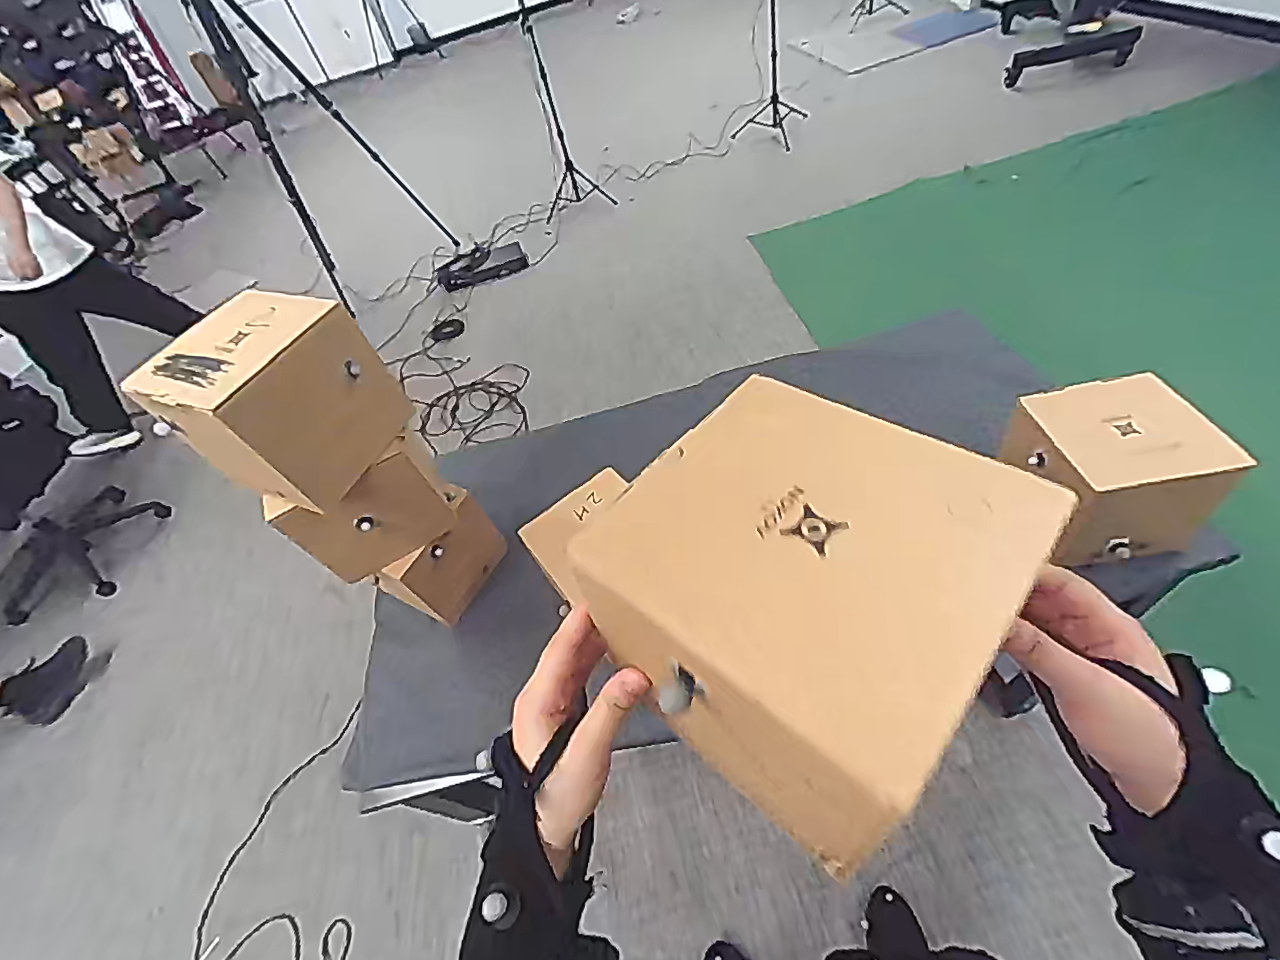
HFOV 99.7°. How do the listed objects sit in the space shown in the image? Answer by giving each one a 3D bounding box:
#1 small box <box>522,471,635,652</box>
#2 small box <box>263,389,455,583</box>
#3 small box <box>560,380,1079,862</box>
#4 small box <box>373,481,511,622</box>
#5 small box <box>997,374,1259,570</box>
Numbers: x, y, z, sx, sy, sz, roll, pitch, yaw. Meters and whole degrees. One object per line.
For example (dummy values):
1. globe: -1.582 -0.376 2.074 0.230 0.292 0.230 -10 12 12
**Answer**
1. small box: -0.038 0.127 0.788 0.168 0.176 0.179 -36 51 -15
2. small box: -0.383 0.011 0.761 0.179 0.176 0.168 -31 52 -10
3. small box: 0.089 0.080 0.310 0.179 0.176 0.168 31 63 32
4. small box: -0.349 0.108 0.890 0.179 0.176 0.168 17 58 26
5. small box: 0.607 -0.007 0.710 0.168 0.176 0.179 -11 47 9
